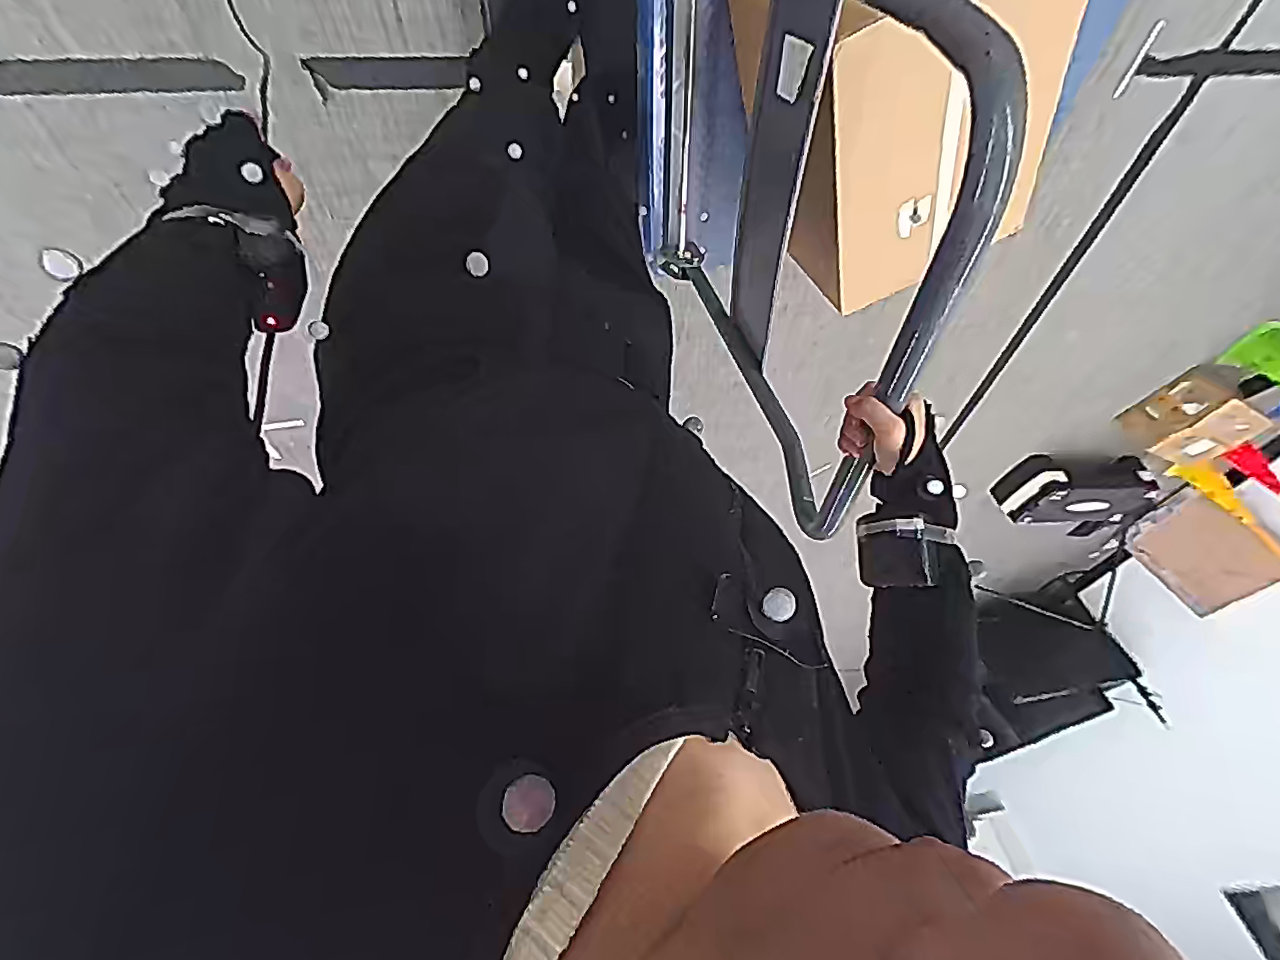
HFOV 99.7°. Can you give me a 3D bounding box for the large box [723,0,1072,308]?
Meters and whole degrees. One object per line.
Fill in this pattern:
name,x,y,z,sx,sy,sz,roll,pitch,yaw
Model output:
large box,0.356,-0.558,0.814,0.320,0.320,0.408,-25,146,6
